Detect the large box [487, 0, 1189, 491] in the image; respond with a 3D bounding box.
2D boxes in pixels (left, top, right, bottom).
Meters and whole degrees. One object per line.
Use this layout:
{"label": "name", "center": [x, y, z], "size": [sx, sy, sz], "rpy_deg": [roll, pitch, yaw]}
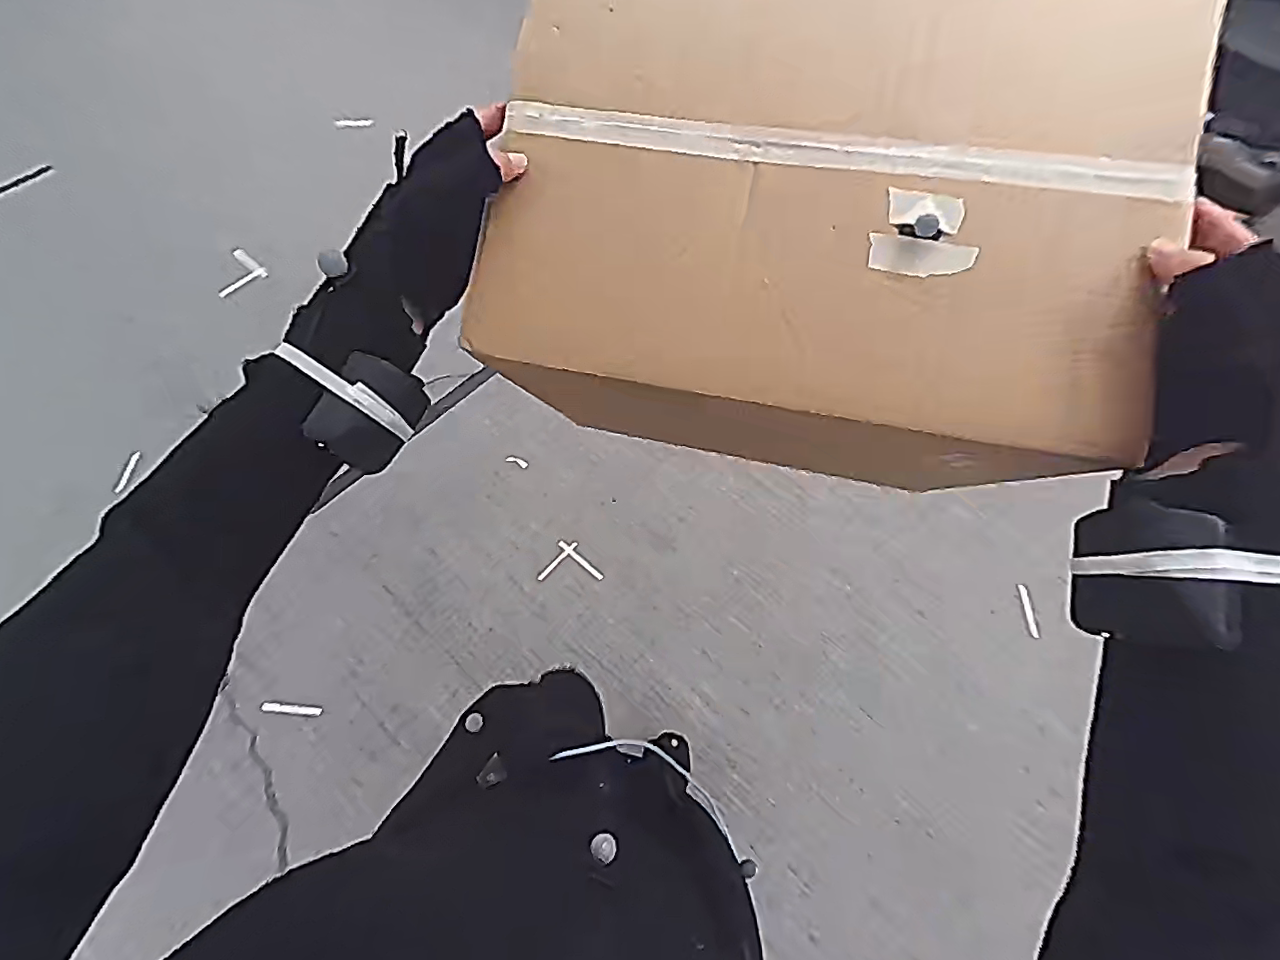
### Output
{"label": "large box", "center": [0.131, -0.178, 0.495], "size": [0.408, 0.320, 0.320], "rpy_deg": [11, 89, 8]}
